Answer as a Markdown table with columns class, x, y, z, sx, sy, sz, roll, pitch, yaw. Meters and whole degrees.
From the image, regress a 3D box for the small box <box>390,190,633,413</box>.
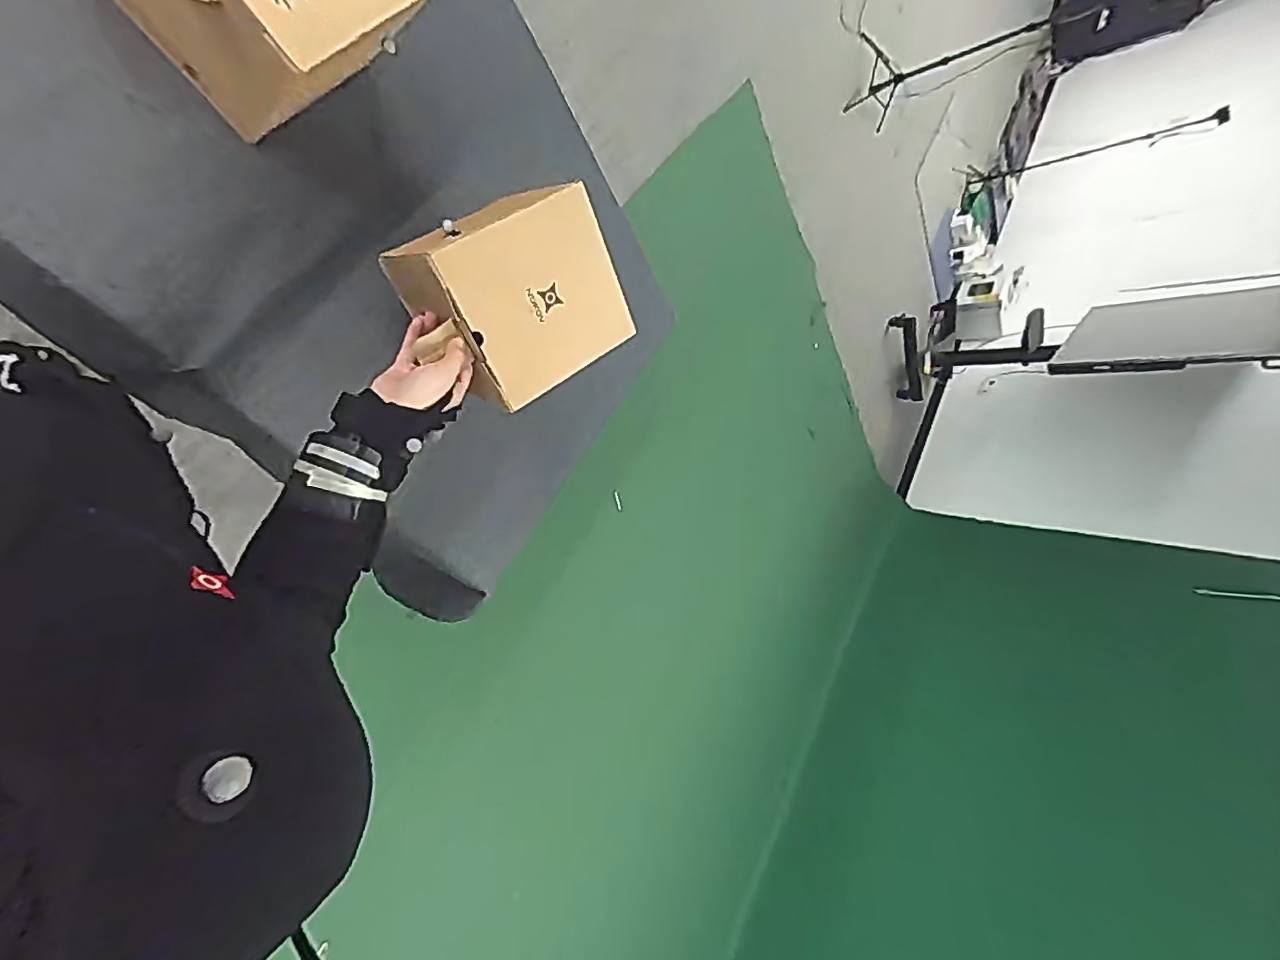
| class | x | y | z | sx | sy | sz | roll | pitch | yaw |
| --- | --- | --- | --- | --- | --- | --- | --- | --- | --- |
| small box | -0.142 | -0.202 | 0.604 | 0.179 | 0.176 | 0.168 | -38 | 127 | -22 |
